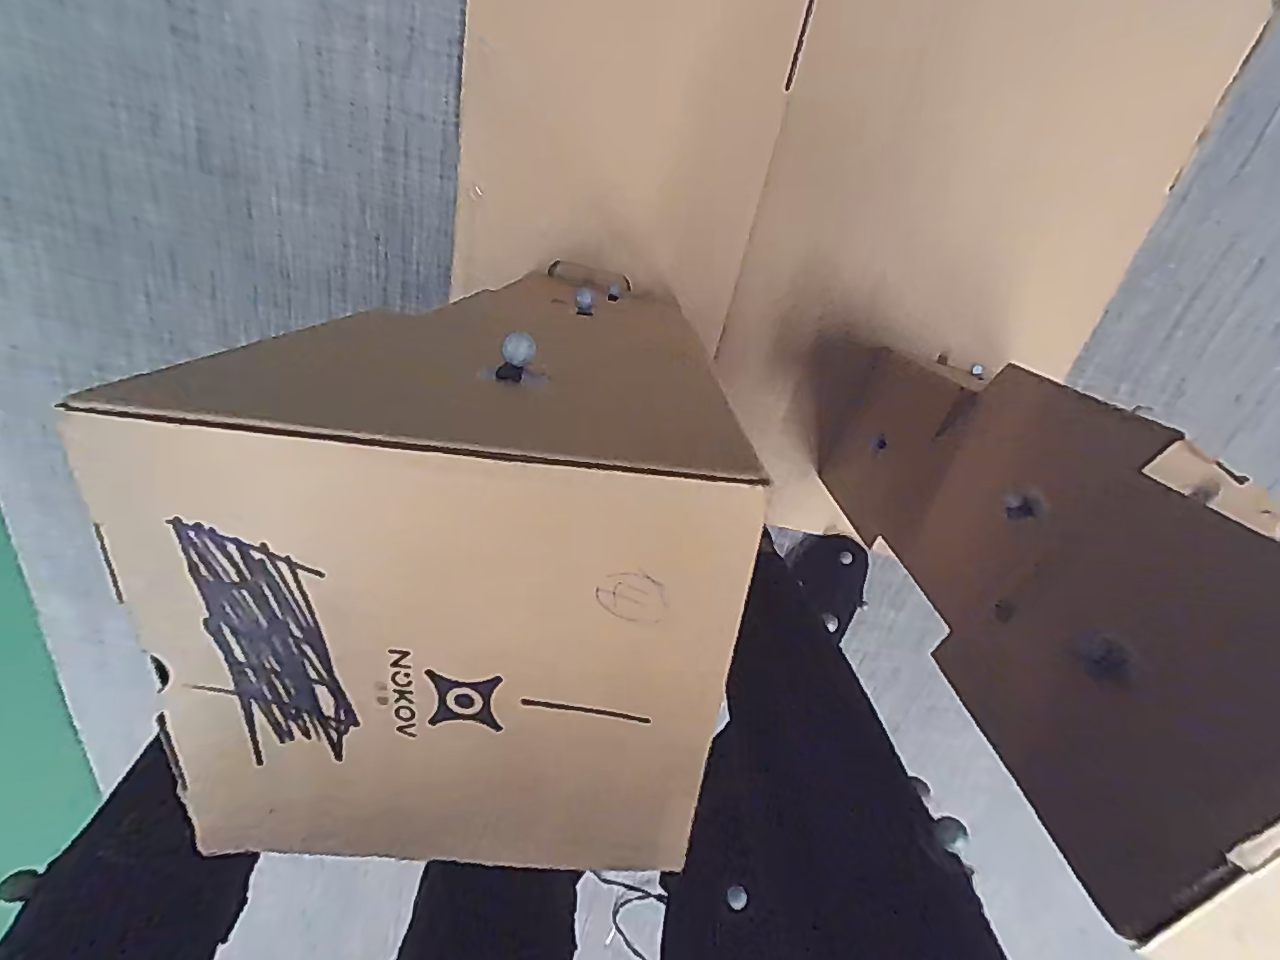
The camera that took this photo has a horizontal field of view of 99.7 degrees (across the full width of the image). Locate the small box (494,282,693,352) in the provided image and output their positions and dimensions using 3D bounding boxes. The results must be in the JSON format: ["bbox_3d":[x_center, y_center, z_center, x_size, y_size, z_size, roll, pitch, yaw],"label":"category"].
[{"bbox_3d":[-0.048,-0.090,0.541,0.168,0.176,0.179,9,113,-4],"label":"small box"}]

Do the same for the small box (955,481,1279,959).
[{"bbox_3d":[0.313,0.120,0.278,0.179,0.176,0.168,23,113,-9],"label":"small box"}]

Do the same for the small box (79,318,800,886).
[{"bbox_3d":[-0.056,0.031,0.235,0.179,0.176,0.168,6,114,-3],"label":"small box"}]

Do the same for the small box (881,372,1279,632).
[{"bbox_3d":[0.328,0.041,0.421,0.168,0.176,0.179,31,112,-14],"label":"small box"}]
